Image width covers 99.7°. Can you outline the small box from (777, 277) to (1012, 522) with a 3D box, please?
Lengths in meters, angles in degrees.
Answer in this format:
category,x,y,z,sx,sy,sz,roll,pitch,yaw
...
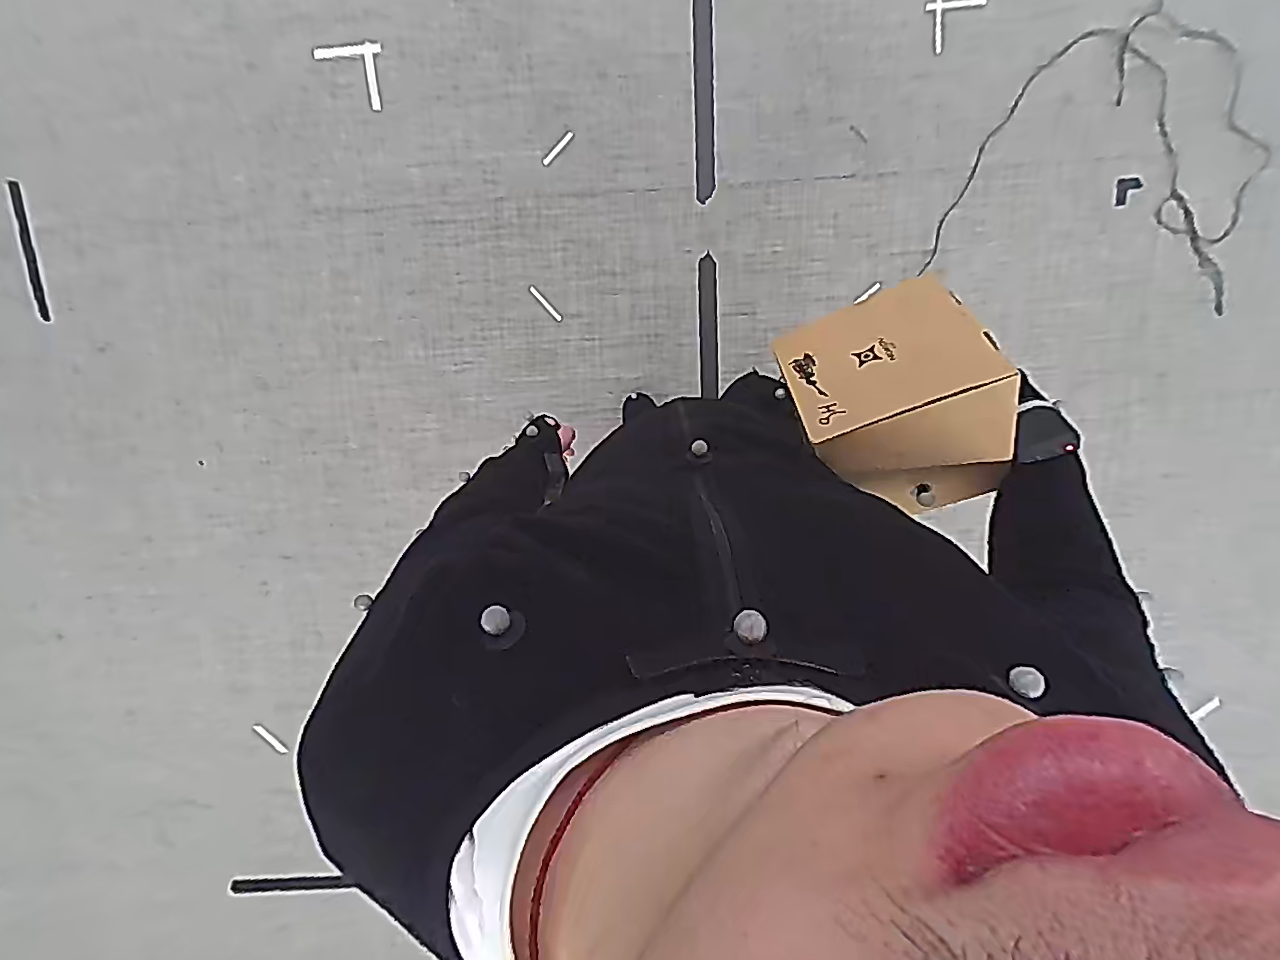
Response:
category,x,y,z,sx,sy,sz,roll,pitch,yaw
small box,0.270,-0.080,0.595,0.179,0.168,0.176,-19,136,16
